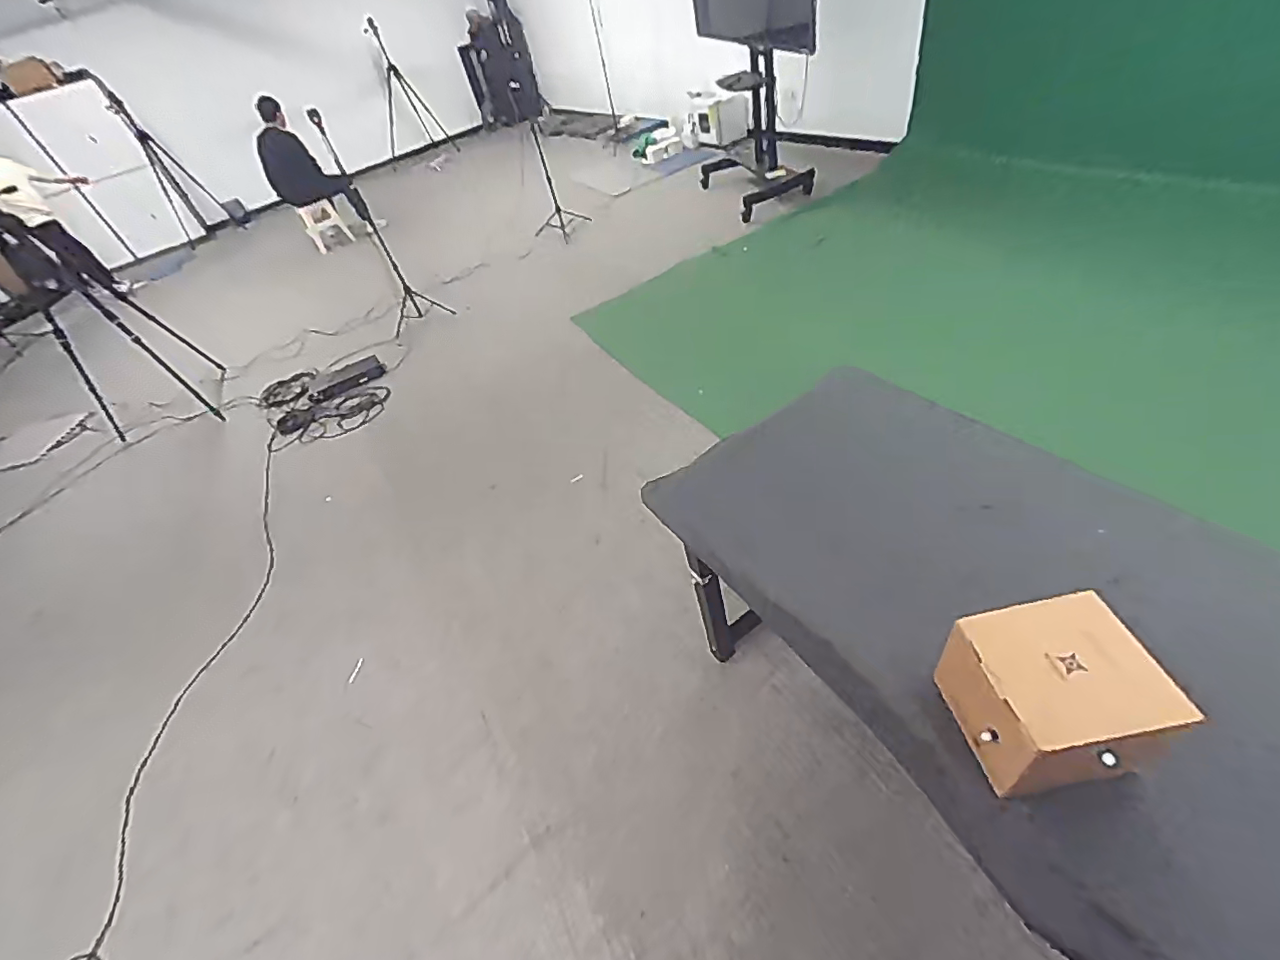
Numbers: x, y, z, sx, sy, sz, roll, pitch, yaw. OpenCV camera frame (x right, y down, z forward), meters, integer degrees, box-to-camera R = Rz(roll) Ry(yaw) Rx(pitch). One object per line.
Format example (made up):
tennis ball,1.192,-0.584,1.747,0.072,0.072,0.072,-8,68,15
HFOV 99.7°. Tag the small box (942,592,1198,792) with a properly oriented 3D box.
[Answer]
small box,0.511,0.271,0.683,0.179,0.176,0.168,-13,45,2
